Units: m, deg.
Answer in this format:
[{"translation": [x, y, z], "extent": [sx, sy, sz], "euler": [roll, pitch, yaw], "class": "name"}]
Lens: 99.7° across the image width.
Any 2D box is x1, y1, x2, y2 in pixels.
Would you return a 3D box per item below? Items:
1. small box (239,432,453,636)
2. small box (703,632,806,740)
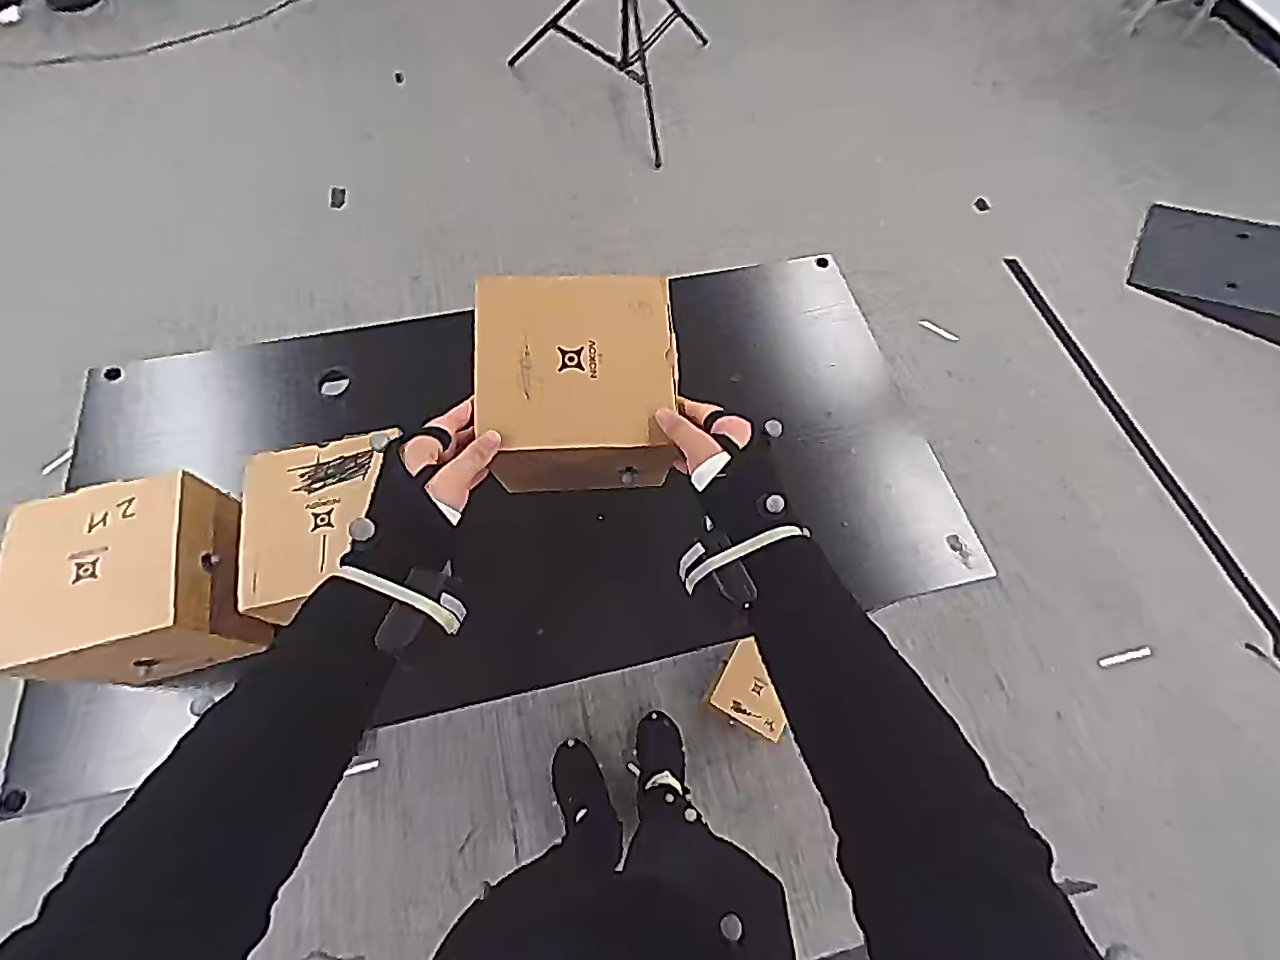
[{"translation": [-0.333, 0.071, 0.642], "extent": [0.168, 0.176, 0.179], "euler": [-12, 67, -7], "class": "small box"}, {"translation": [0.261, 0.486, 1.272], "extent": [0.168, 0.176, 0.179], "euler": [28, 68, 10], "class": "small box"}]
